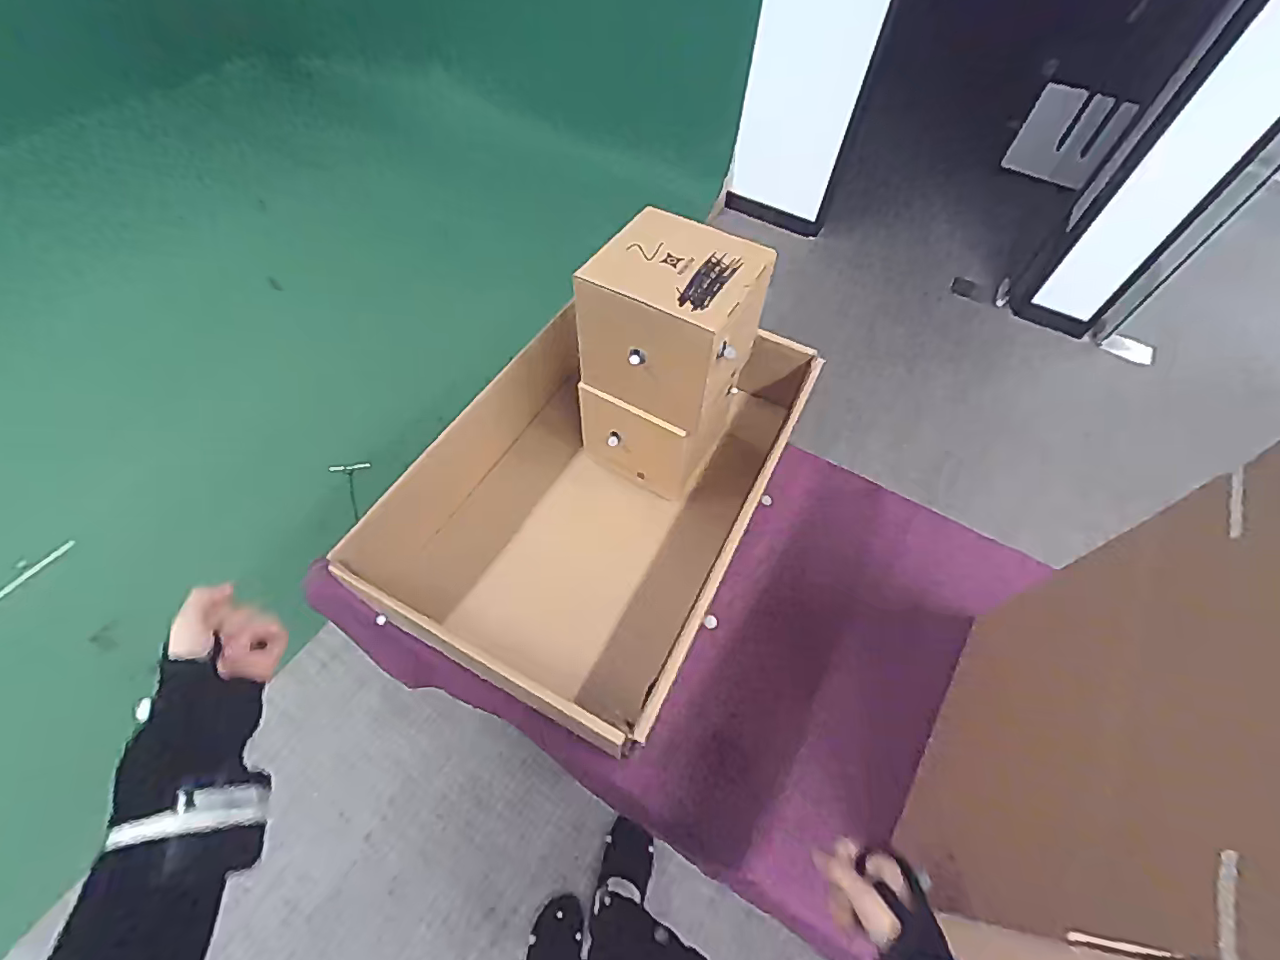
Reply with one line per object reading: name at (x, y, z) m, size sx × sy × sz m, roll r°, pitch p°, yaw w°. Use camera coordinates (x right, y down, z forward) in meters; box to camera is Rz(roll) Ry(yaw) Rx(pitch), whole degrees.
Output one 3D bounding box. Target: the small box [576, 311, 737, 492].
small box at (0.024, -0.112, 0.810) m, size 0.168 × 0.176 × 0.179 m, roll 28°, pitch 60°, yaw 15°
